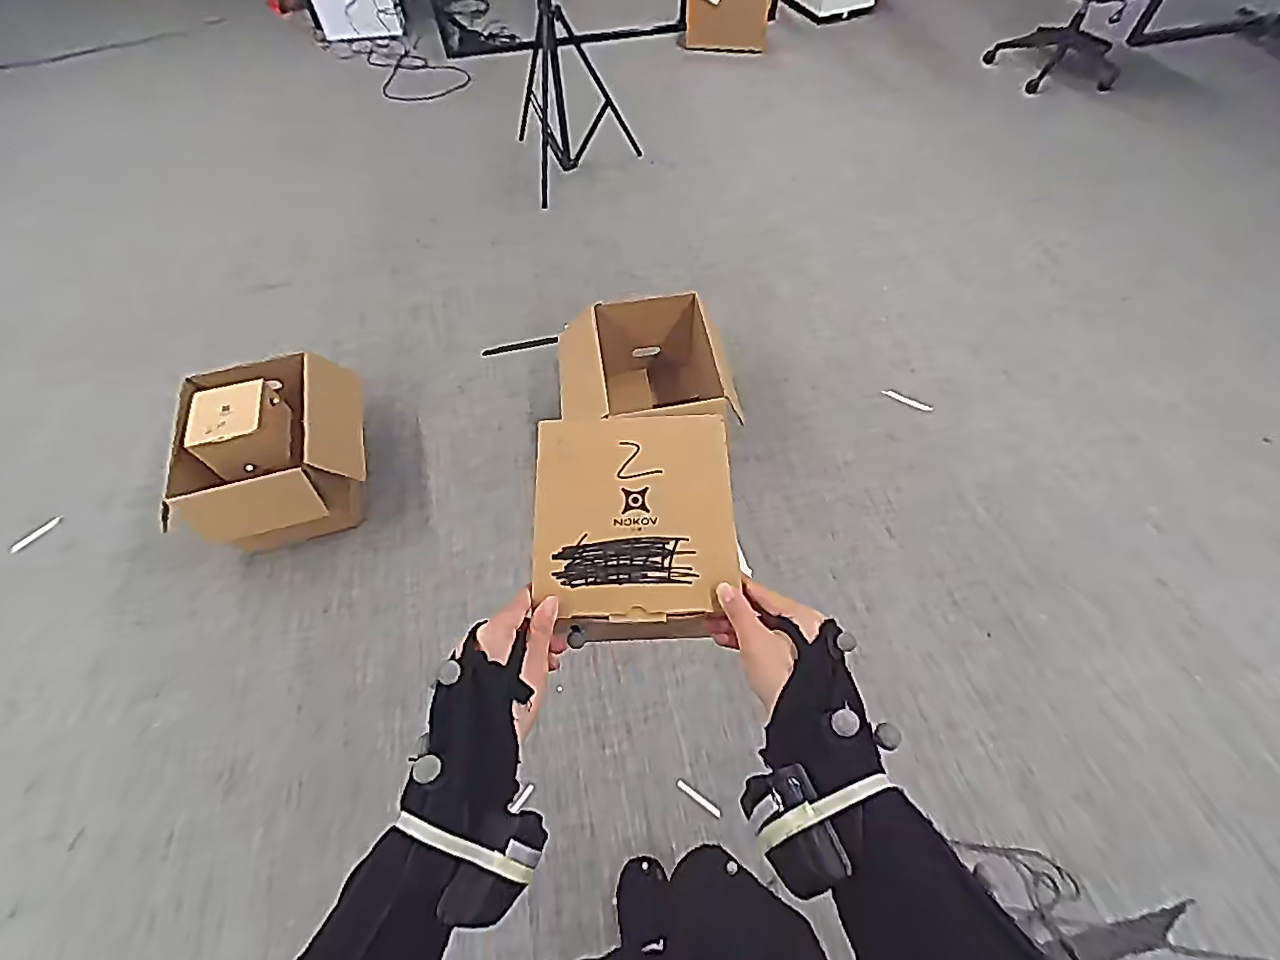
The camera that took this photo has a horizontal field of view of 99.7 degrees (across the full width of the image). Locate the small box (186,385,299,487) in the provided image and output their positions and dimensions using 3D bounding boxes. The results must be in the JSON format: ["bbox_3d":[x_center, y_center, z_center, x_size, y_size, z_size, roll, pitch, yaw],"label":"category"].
[{"bbox_3d":[-1.002,-0.110,1.383,0.168,0.176,0.179,-15,59,-7],"label":"small box"}]
